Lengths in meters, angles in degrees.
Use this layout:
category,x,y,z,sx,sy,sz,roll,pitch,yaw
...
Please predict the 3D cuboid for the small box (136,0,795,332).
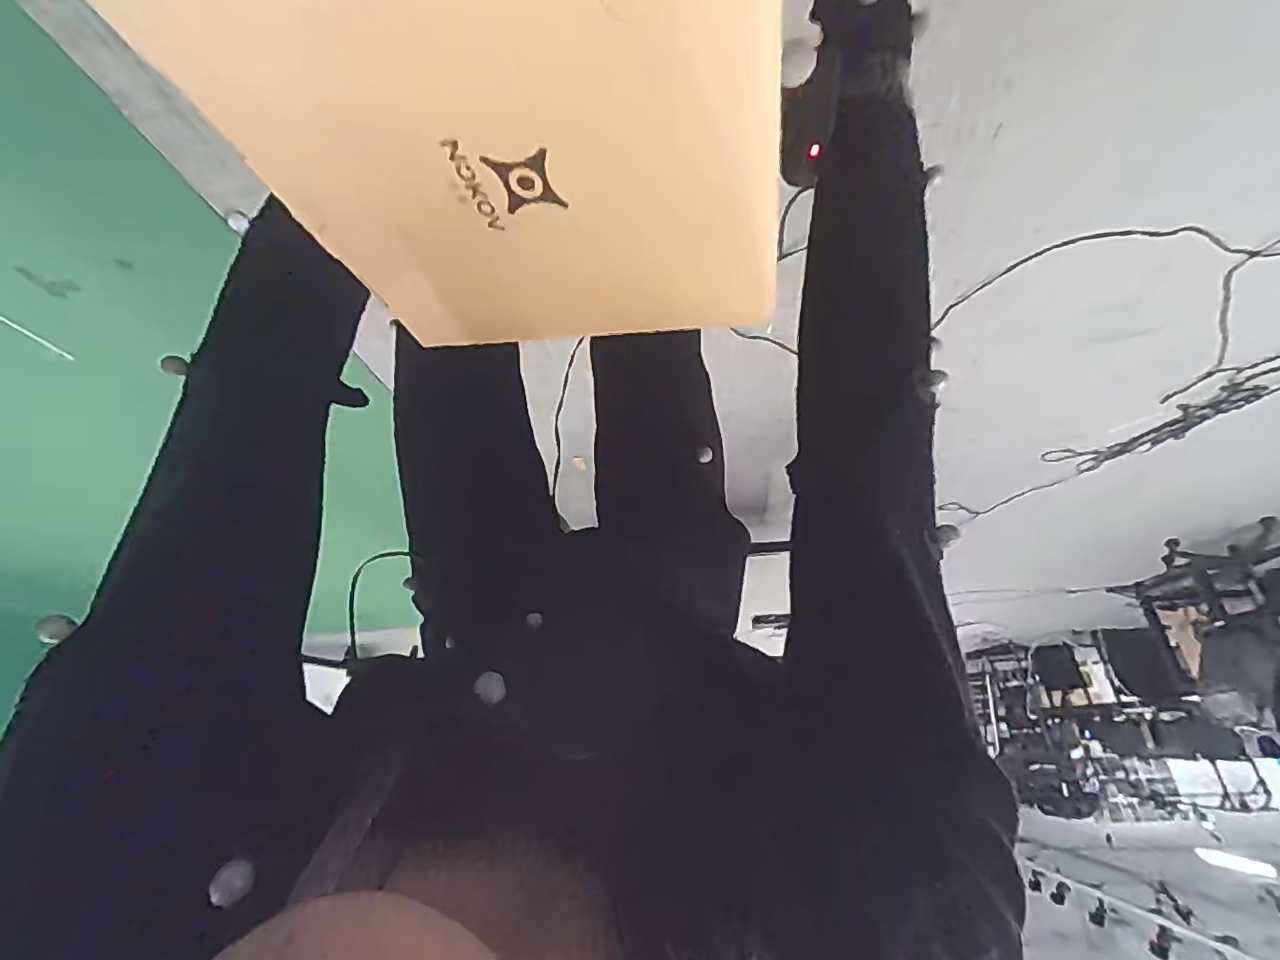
category,x,y,z,sx,sy,sz,roll,pitch,yaw
small box,-0.033,-0.183,0.216,0.179,0.176,0.168,0,158,13
